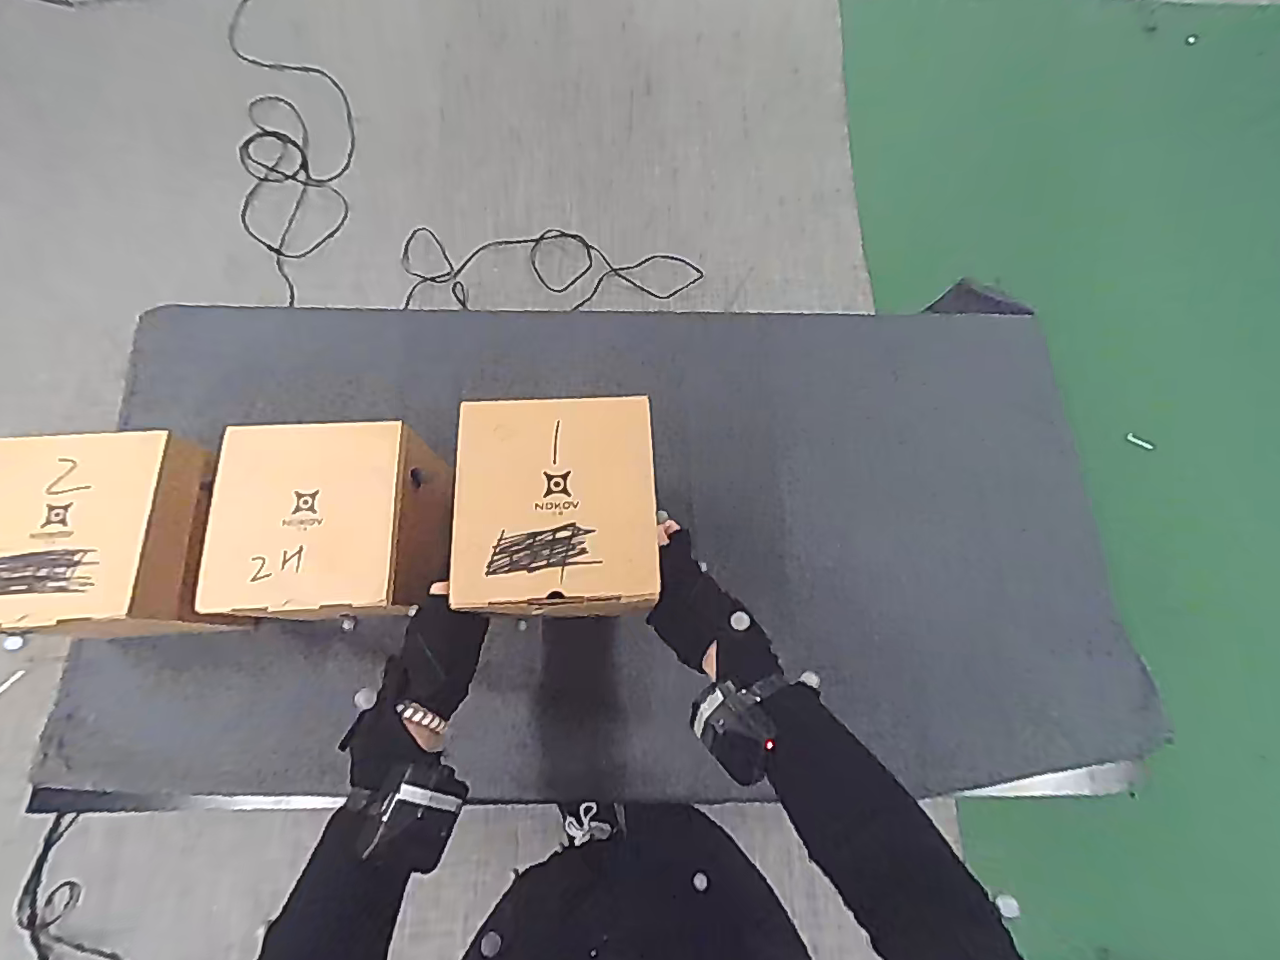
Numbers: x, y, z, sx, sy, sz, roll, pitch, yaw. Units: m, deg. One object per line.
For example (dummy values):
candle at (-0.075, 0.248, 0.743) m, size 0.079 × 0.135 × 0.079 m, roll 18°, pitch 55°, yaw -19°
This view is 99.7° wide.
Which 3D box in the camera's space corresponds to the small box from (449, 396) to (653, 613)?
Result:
small box at (-0.073, 0.035, 0.525) m, size 0.168 × 0.176 × 0.179 m, roll -2°, pitch 71°, yaw -3°
